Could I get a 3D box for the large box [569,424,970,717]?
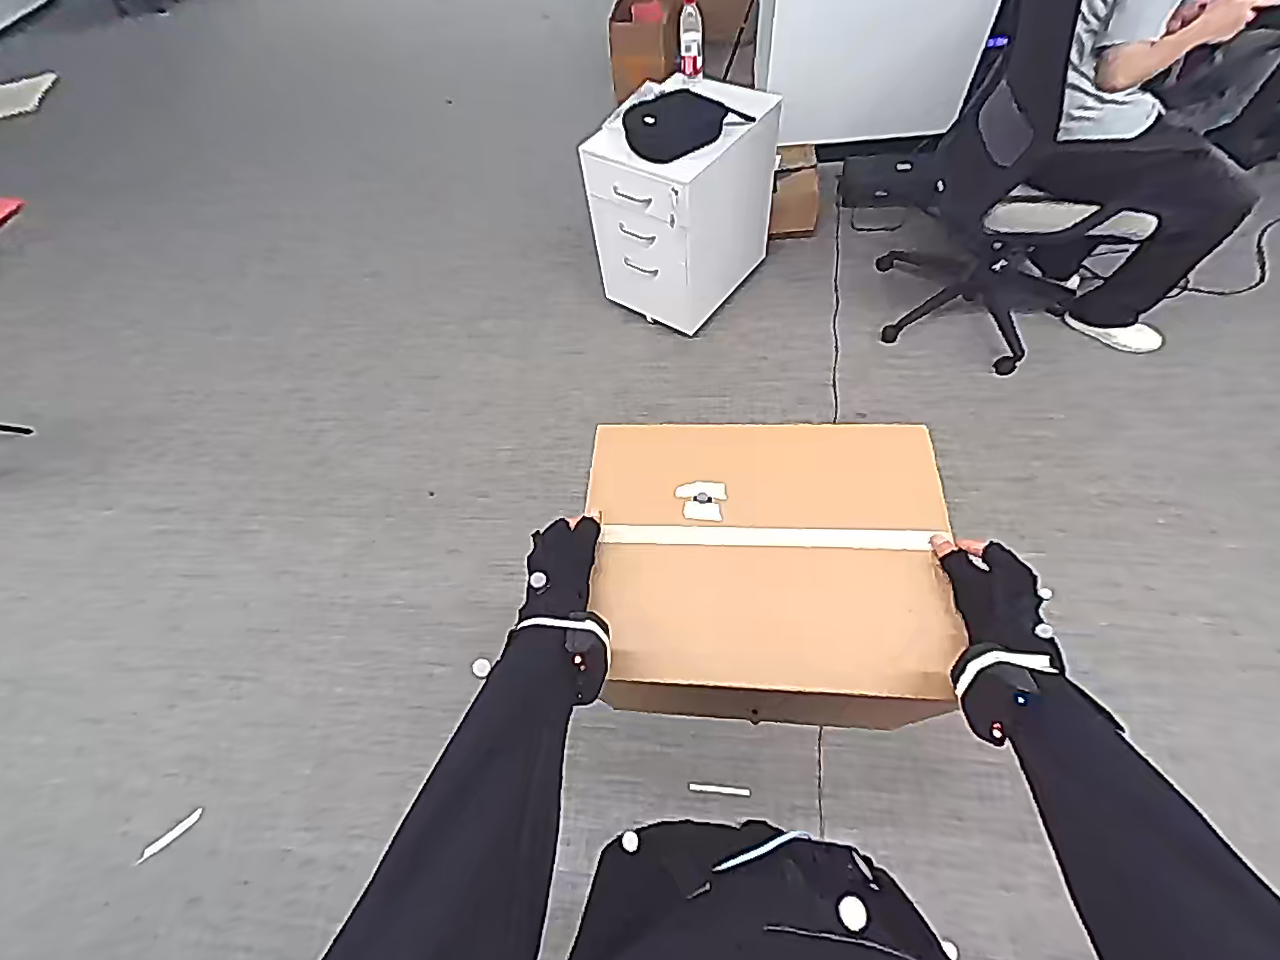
[{"bbox_3d":[0.151,0.139,0.742,0.408,0.320,0.320,0,60,9],"label":"large box"}]
